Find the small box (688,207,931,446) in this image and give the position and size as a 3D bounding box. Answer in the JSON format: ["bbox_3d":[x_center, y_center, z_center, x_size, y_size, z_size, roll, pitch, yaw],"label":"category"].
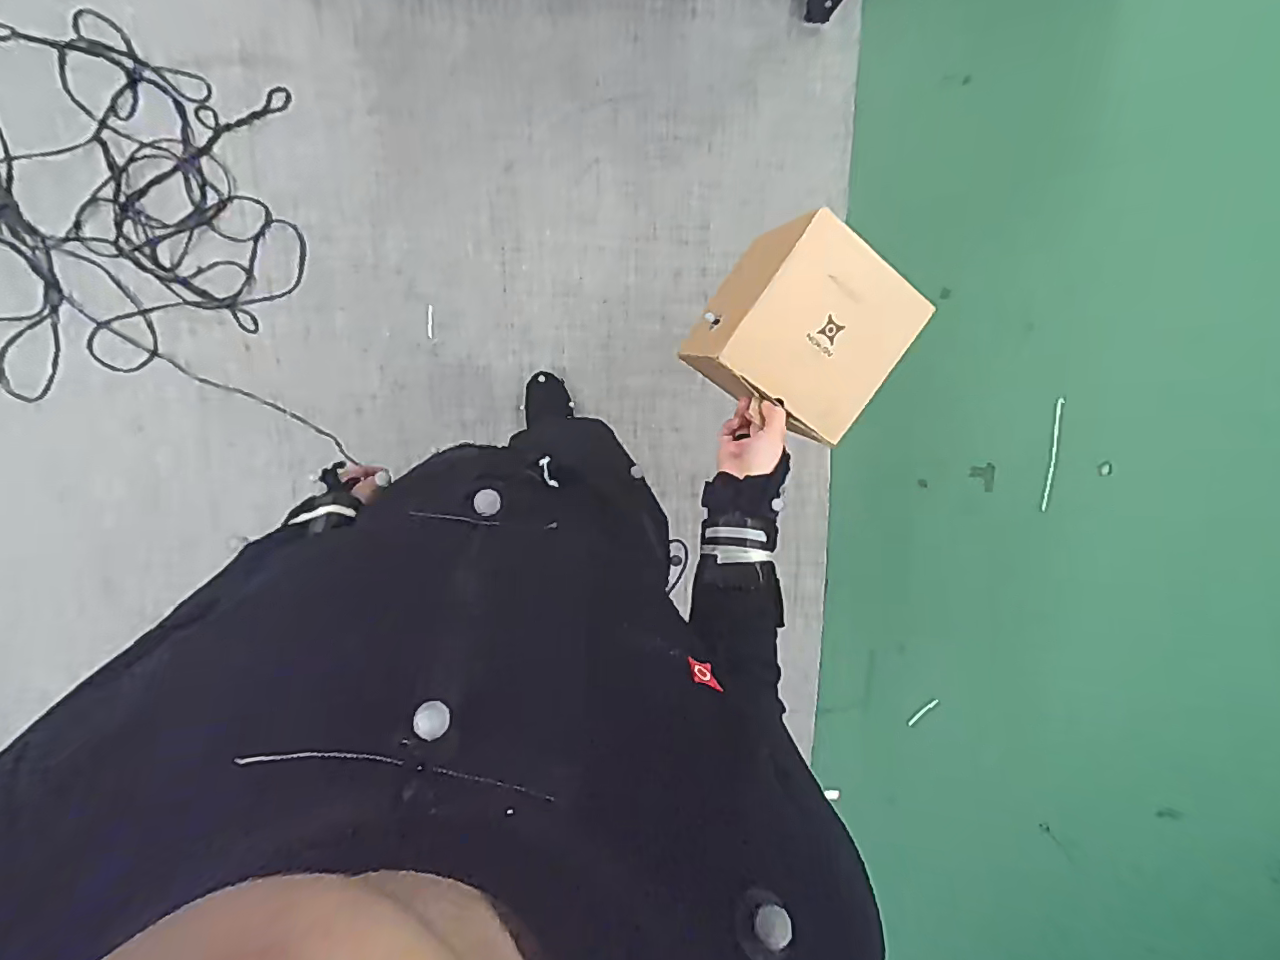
[{"bbox_3d":[0.173,-0.165,0.616,0.168,0.176,0.179,32,96,-17],"label":"small box"}]
